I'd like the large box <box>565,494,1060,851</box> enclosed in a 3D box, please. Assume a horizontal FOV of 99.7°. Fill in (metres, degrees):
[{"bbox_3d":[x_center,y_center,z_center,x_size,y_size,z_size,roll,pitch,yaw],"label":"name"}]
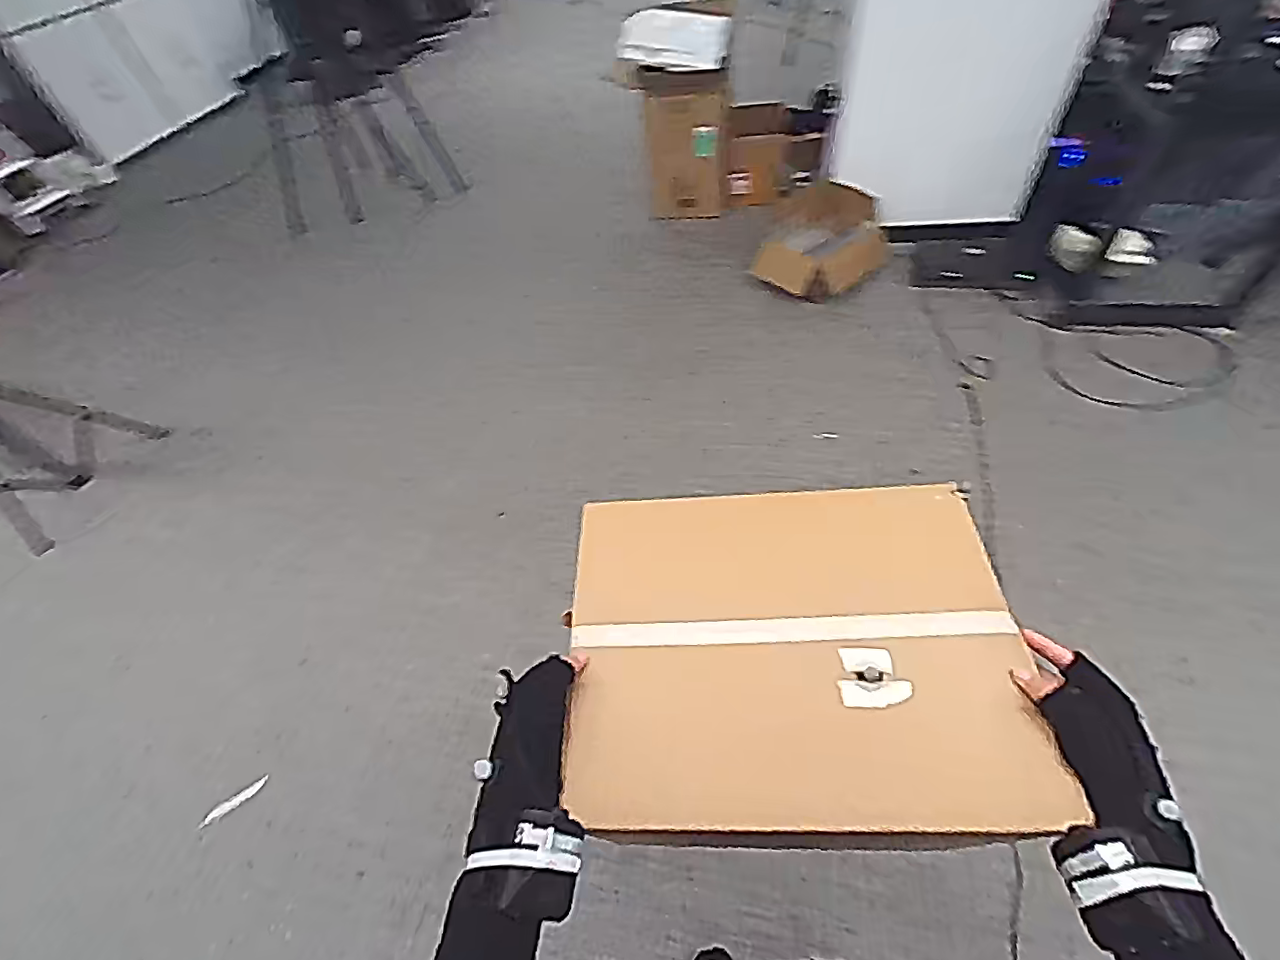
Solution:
[{"bbox_3d":[0.145,0.242,0.641,0.408,0.320,0.320,-4,54,5],"label":"large box"}]
